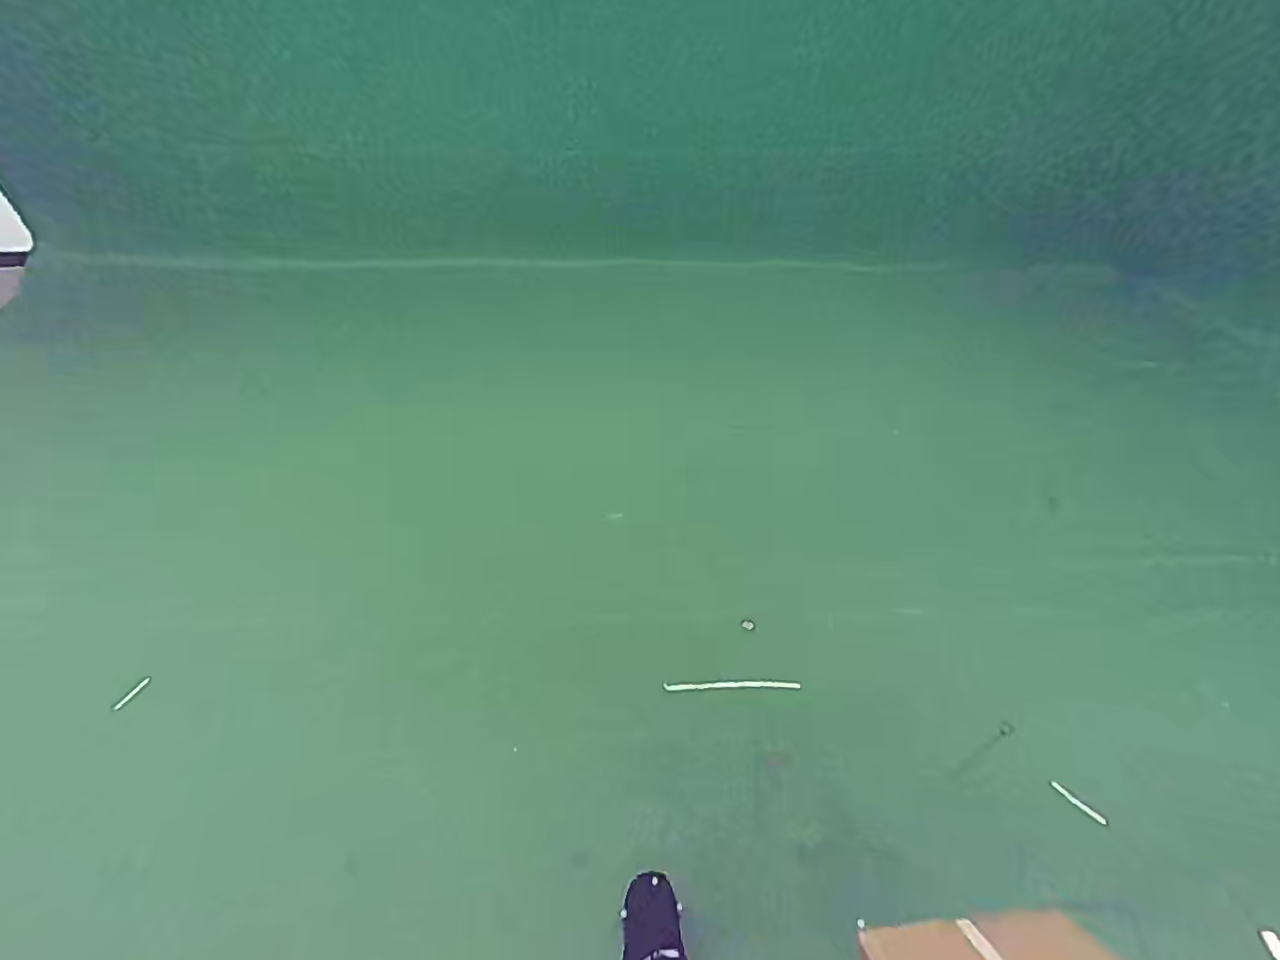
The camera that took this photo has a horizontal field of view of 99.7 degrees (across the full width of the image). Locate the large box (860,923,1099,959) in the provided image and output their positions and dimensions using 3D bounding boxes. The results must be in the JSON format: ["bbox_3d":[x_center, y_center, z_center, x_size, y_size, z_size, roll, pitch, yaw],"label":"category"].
[{"bbox_3d":[0.494,0.803,0.594,0.320,0.408,0.320,-4,83,-1],"label":"large box"}]
